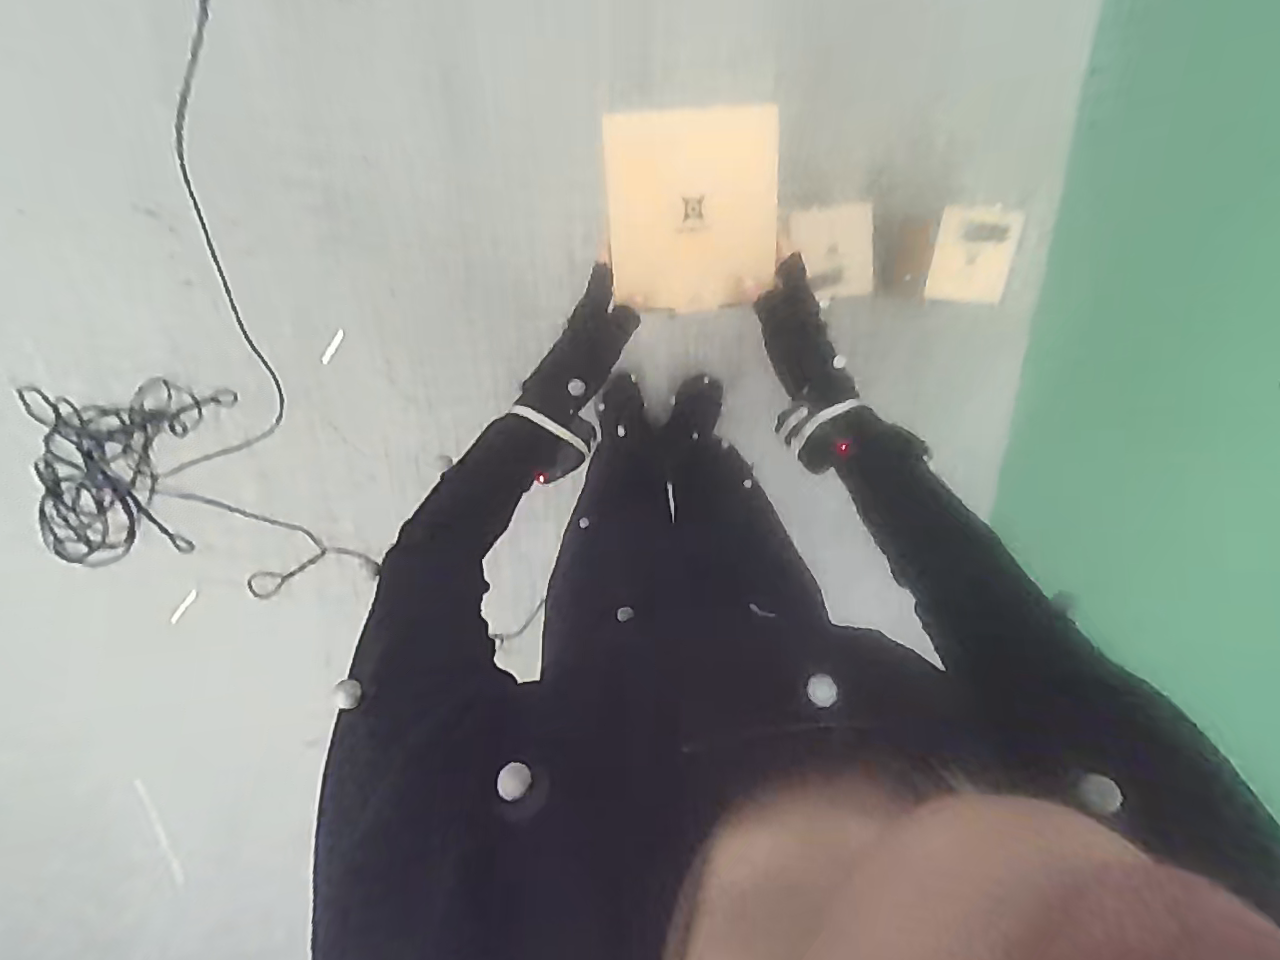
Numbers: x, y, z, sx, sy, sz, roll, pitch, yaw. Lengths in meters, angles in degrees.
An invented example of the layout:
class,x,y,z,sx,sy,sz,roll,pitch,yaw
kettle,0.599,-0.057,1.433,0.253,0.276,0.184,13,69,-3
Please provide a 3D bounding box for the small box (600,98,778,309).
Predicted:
class,x,y,z,sx,sy,sz,roll,pitch,yaw
small box,0.044,-0.281,0.586,0.168,0.176,0.179,-5,109,-1

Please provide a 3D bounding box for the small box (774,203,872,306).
class,x,y,z,sx,sy,sz,roll,pitch,yaw
small box,0.378,-0.473,1.152,0.168,0.176,0.179,-8,108,1
